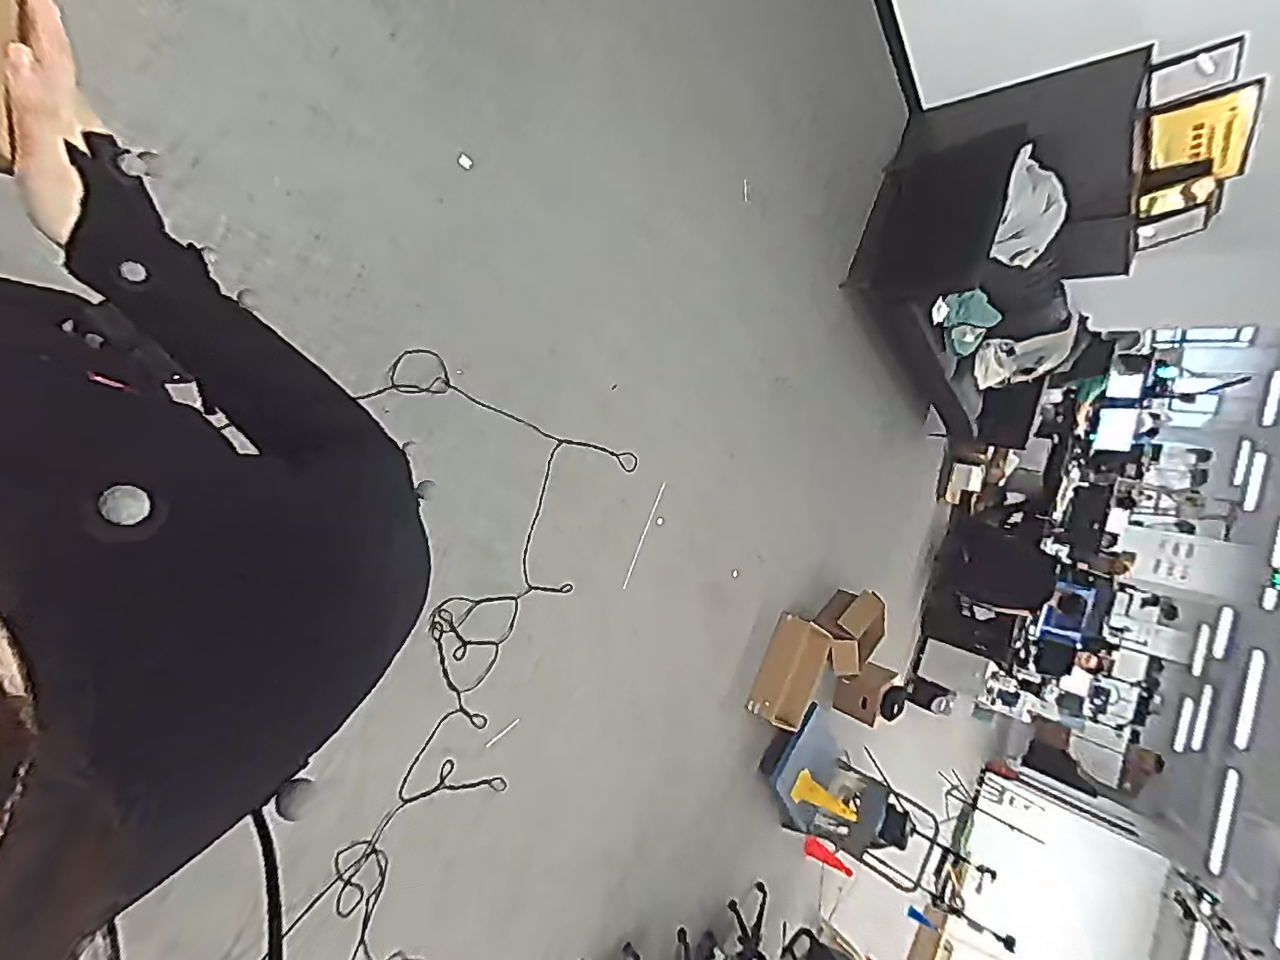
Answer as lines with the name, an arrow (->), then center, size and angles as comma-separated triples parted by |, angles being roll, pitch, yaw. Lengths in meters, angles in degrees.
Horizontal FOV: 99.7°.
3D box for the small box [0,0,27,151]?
small box -> -0.372, -0.254, 0.205 | 0.179, 0.176, 0.168 | 2, 93, -42
